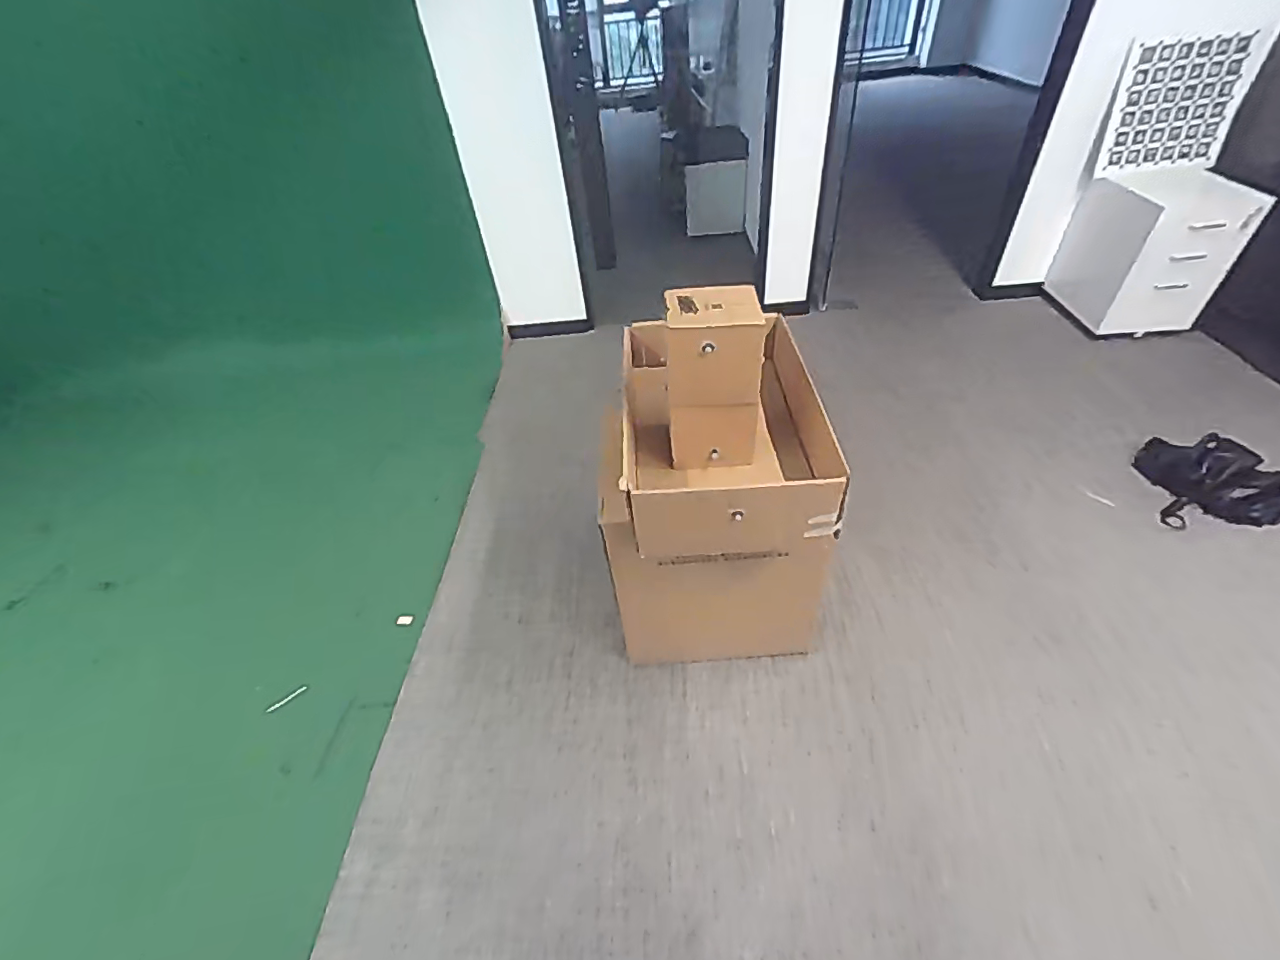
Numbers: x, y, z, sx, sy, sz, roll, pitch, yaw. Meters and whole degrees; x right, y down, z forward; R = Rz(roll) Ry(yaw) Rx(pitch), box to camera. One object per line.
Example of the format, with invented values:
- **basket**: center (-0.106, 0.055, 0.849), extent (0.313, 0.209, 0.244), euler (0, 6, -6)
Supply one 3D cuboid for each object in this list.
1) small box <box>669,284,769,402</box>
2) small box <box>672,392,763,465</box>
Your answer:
- **small box**: center (0.147, -0.264, 1.054), extent (0.179, 0.176, 0.168), euler (-1, 42, 4)
- **small box**: center (0.159, -0.146, 1.168), extent (0.179, 0.176, 0.168), euler (-3, 41, 2)
